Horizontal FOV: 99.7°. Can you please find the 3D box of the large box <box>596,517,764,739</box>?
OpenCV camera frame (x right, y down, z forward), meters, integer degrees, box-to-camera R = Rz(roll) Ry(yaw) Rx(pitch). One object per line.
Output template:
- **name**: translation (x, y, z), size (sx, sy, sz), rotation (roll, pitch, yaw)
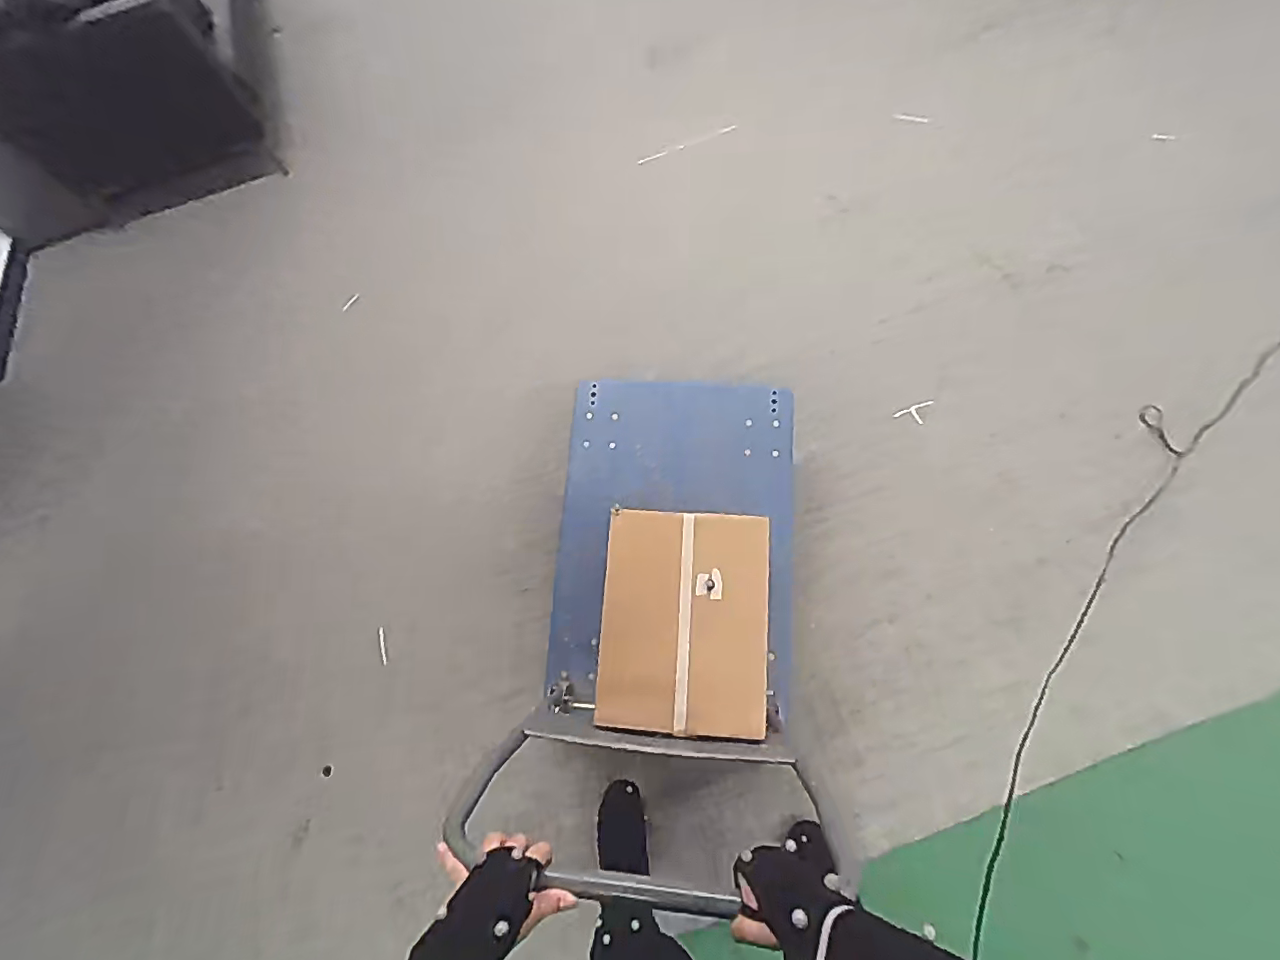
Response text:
- **large box**: translation (0.096, 0.311, 1.184), size (0.320, 0.320, 0.408), rotation (3, 76, 5)
